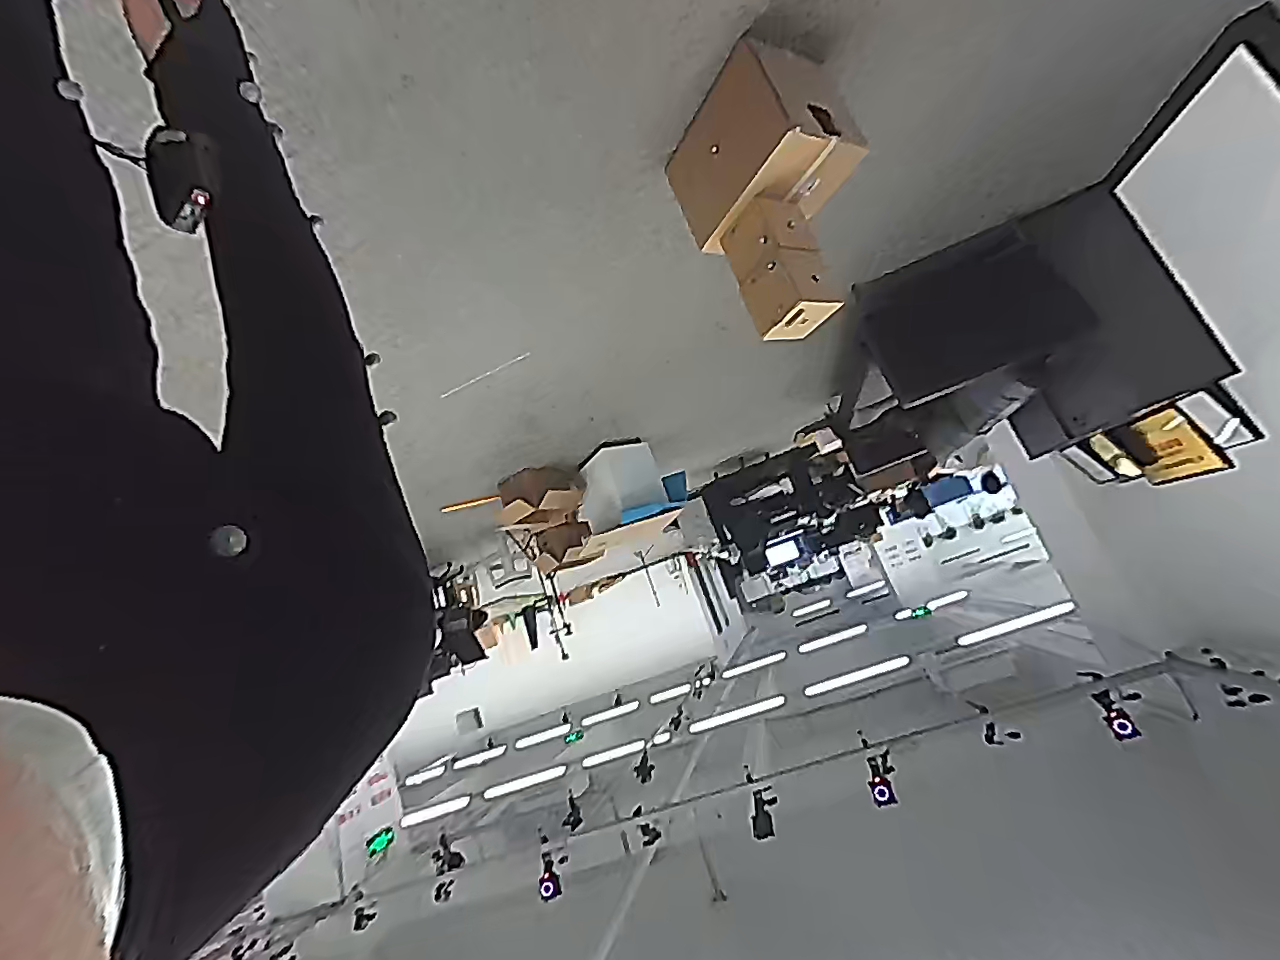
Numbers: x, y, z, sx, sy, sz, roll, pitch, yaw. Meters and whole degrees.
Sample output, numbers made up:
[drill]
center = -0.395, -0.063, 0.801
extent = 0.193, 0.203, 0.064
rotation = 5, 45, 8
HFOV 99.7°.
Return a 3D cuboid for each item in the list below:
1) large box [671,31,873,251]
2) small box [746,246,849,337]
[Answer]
[large box]
center = 0.344, -0.914, 1.518
extent = 0.320, 0.320, 0.408
rotation = -13, 163, -31
[small box]
center = 0.419, -0.507, 1.460
extent = 0.179, 0.176, 0.168
rotation = -12, 164, -33
